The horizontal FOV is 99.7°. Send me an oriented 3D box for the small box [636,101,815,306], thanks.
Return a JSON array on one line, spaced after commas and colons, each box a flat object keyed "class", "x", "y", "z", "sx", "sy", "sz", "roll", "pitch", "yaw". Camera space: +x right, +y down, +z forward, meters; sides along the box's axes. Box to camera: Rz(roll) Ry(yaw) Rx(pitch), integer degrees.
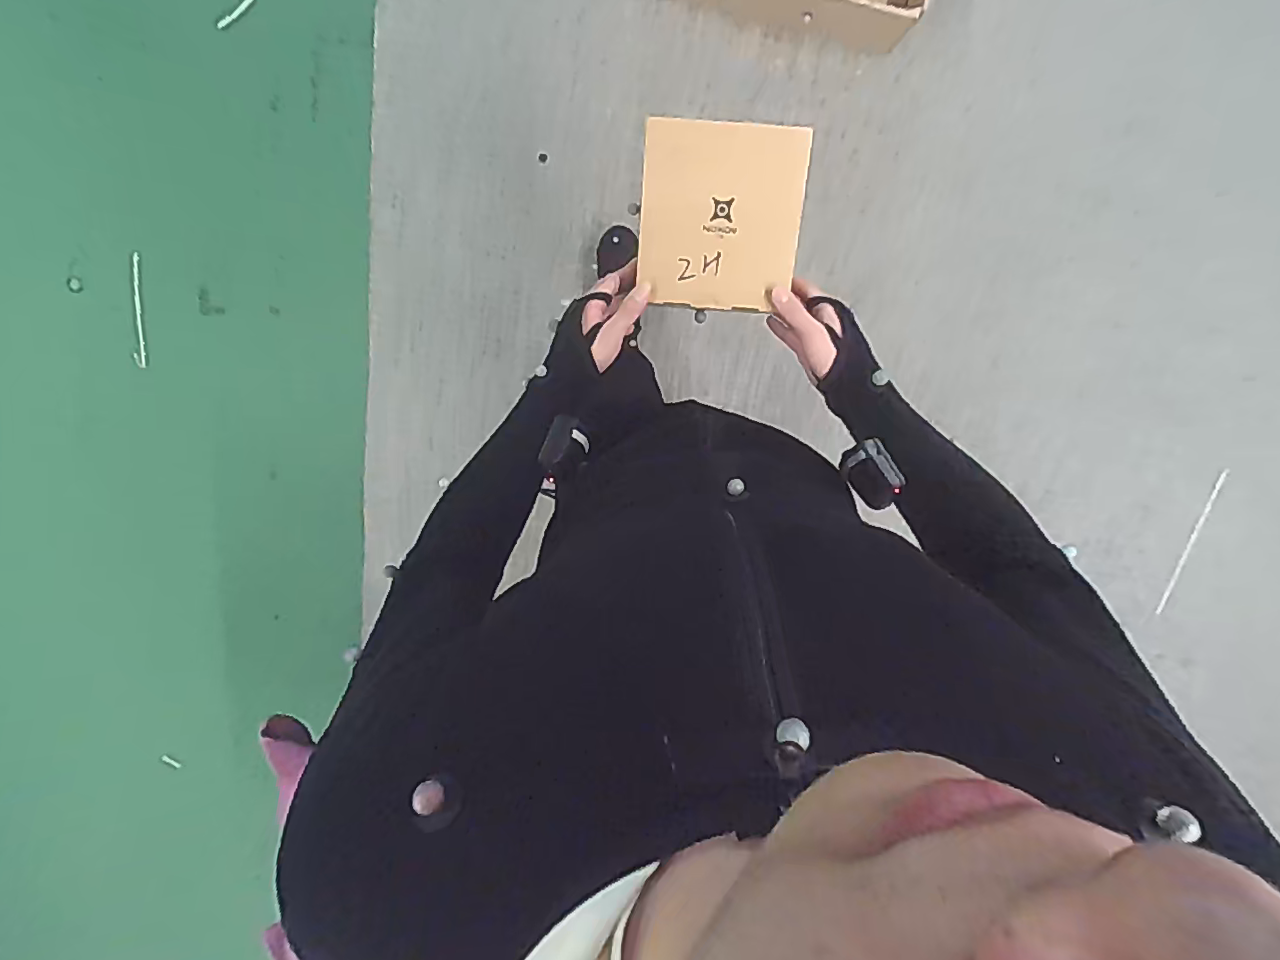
[{"class": "small box", "x": 0.085, "y": -0.299, "z": 0.621, "sx": 0.168, "sy": 0.176, "sz": 0.179, "roll": 5, "pitch": 108, "yaw": 1}]
